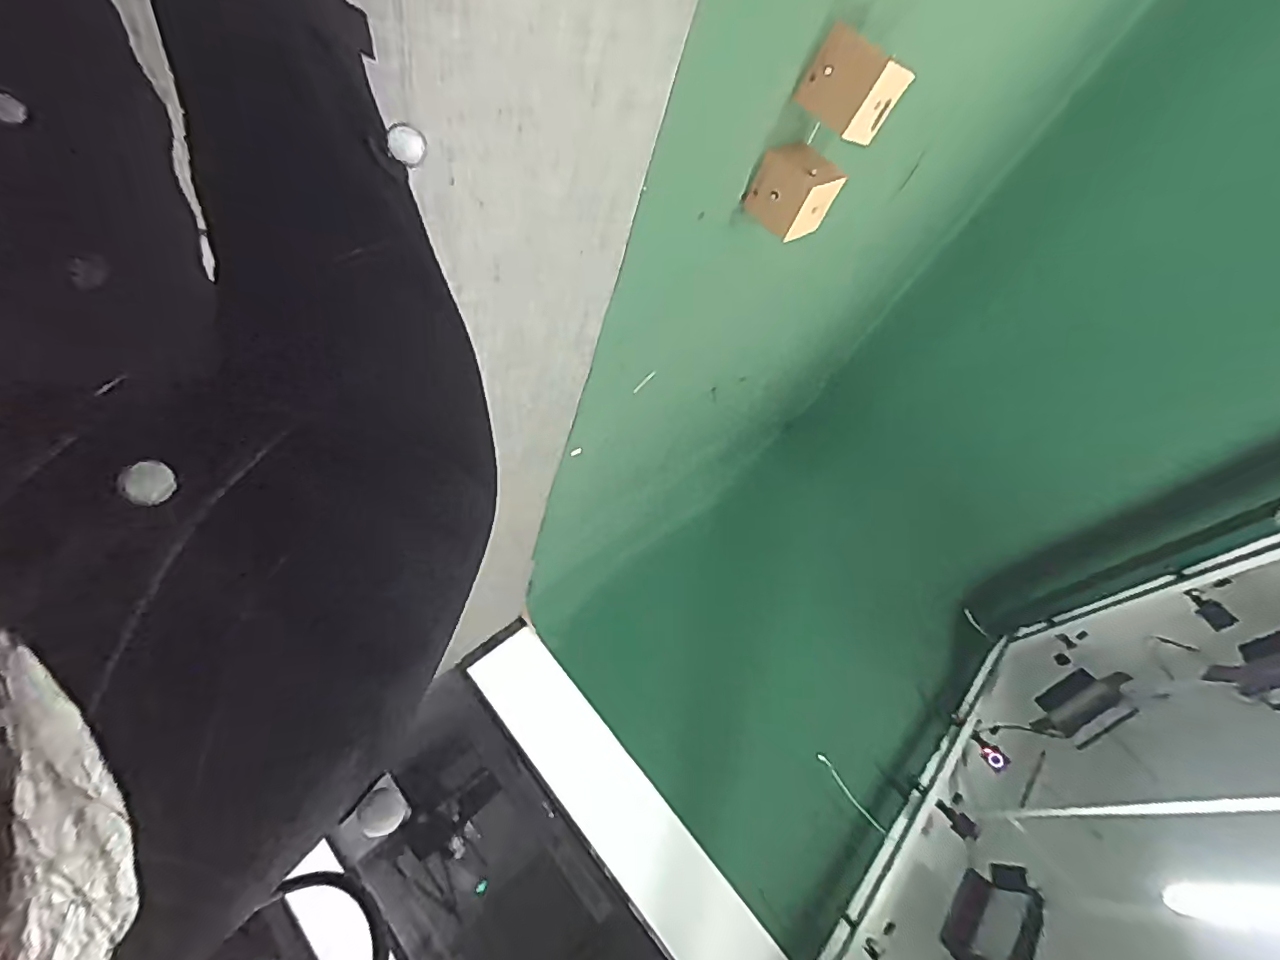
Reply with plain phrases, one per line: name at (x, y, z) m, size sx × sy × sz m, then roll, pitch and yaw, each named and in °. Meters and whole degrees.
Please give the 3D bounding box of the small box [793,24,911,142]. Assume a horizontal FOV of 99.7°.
small box at (0.508, -0.953, 1.306) m, size 0.179 × 0.176 × 0.168 m, roll -27°, pitch 158°, yaw -44°

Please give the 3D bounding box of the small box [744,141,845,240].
small box at (0.422, -0.805, 1.500) m, size 0.179 × 0.176 × 0.168 m, roll -34°, pitch 164°, yaw -32°
